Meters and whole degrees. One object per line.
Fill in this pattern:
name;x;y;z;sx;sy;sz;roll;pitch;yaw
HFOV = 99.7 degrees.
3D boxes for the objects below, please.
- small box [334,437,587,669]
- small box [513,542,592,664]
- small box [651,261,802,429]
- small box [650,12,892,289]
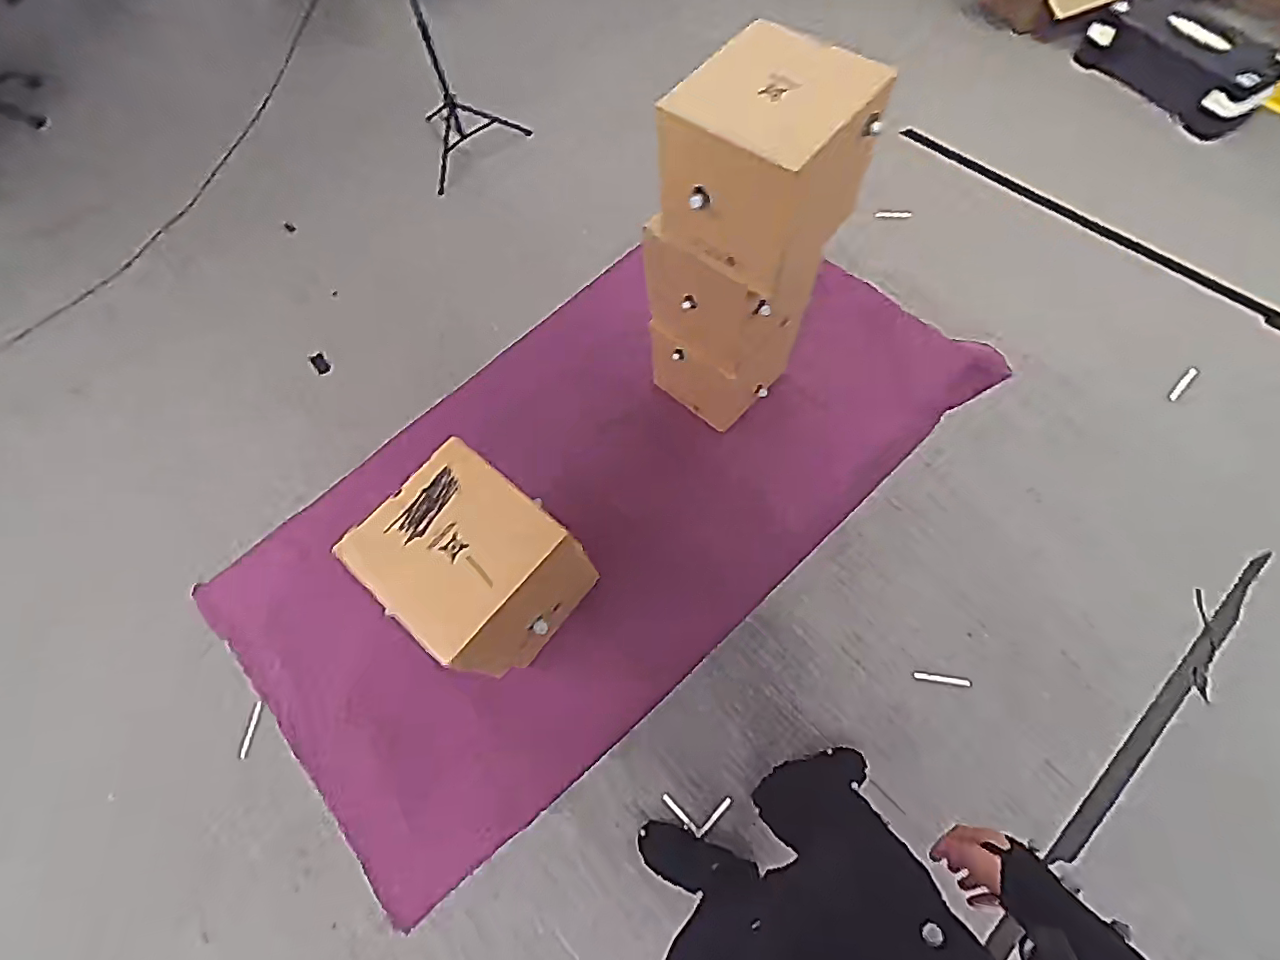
small box;-0.182;0.091;0.599;0.179;0.176;0.168;37;74;17
small box;-0.185;0.136;0.759;0.168;0.176;0.179;35;73;17
small box;0.134;-0.221;0.890;0.168;0.176;0.179;39;74;19
small box;0.132;-0.346;0.586;0.168;0.176;0.179;36;74;18
